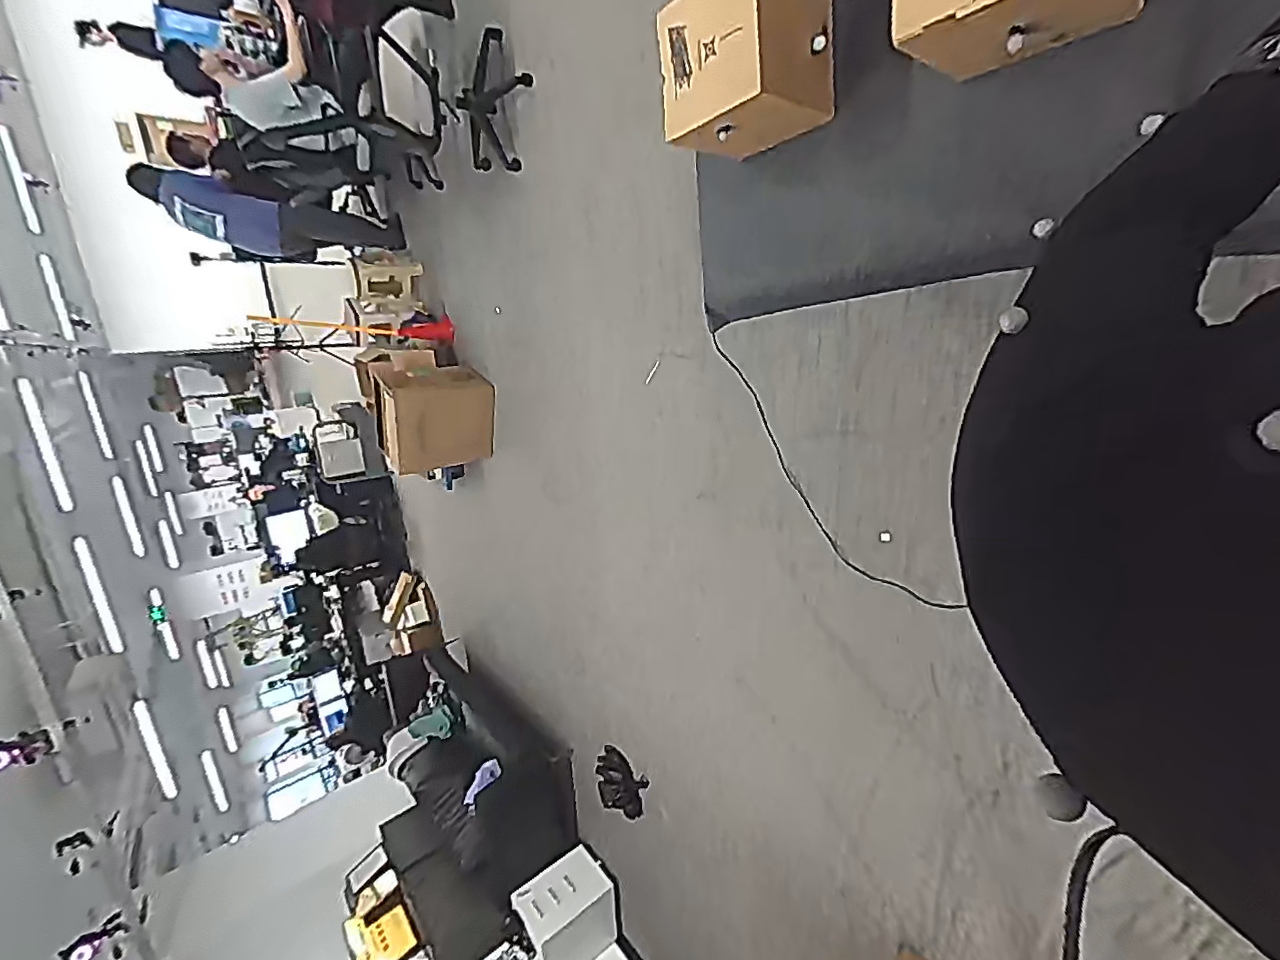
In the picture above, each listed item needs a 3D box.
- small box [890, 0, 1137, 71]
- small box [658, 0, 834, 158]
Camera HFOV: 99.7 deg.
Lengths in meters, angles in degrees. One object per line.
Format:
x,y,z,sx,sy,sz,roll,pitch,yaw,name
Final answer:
0.359,-0.521,0.509,0.168,0.176,0.179,14,114,49,small box
0.148,-0.577,0.758,0.179,0.176,0.168,9,110,49,small box
